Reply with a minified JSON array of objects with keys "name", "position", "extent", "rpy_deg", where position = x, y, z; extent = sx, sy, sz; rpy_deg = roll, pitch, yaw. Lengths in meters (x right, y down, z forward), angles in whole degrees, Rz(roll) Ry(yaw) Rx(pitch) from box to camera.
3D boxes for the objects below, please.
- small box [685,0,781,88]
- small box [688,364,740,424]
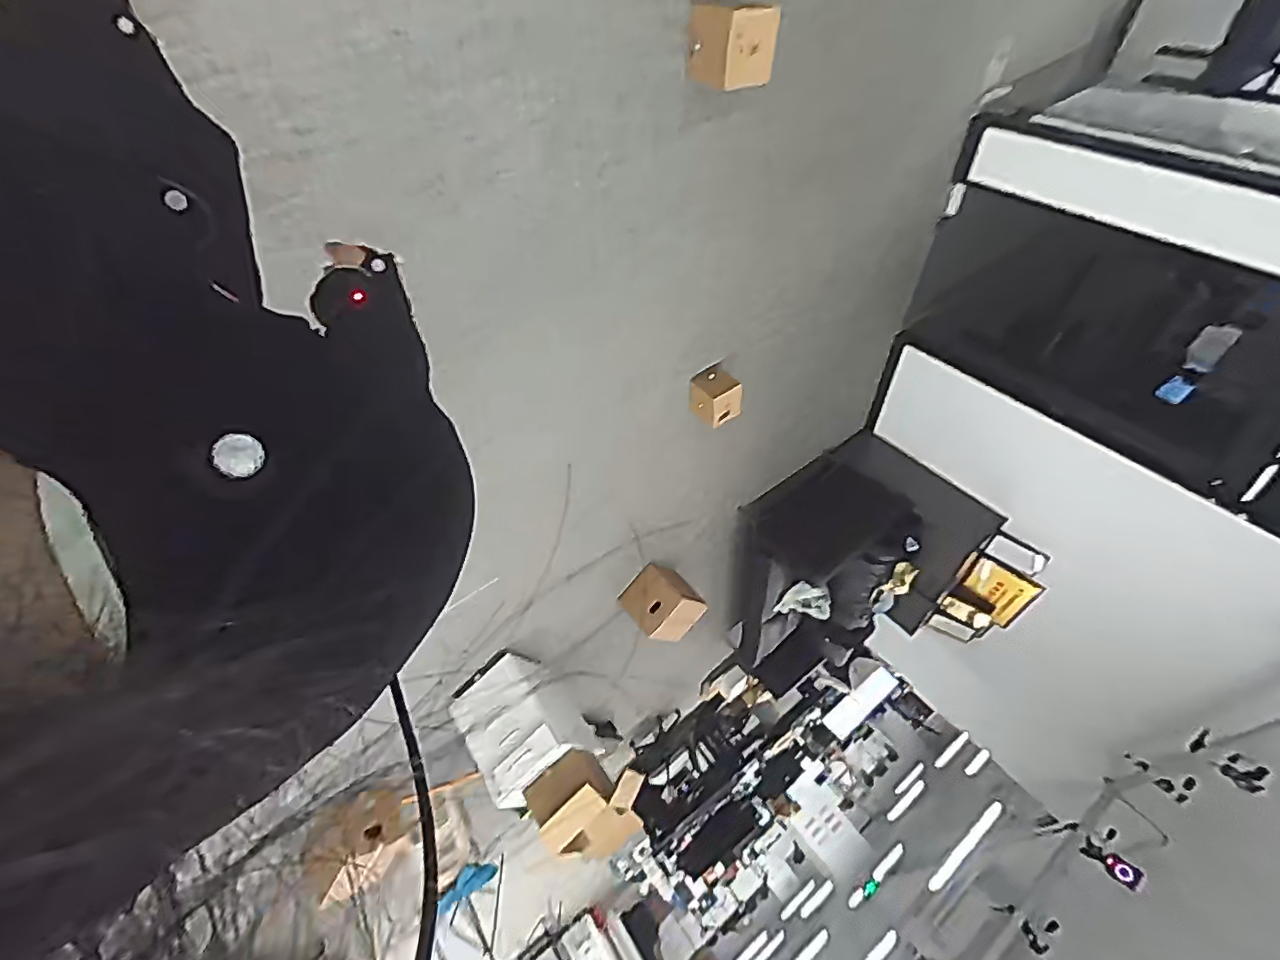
[{"name":"small box","position":[0.248,-1.192,1.472],"extent":[0.179,0.176,0.168],"rpy_deg":[-28,143,-25]},{"name":"small box","position":[0.330,-0.393,2.457],"extent":[0.168,0.176,0.179],"rpy_deg":[-31,144,-21]}]
